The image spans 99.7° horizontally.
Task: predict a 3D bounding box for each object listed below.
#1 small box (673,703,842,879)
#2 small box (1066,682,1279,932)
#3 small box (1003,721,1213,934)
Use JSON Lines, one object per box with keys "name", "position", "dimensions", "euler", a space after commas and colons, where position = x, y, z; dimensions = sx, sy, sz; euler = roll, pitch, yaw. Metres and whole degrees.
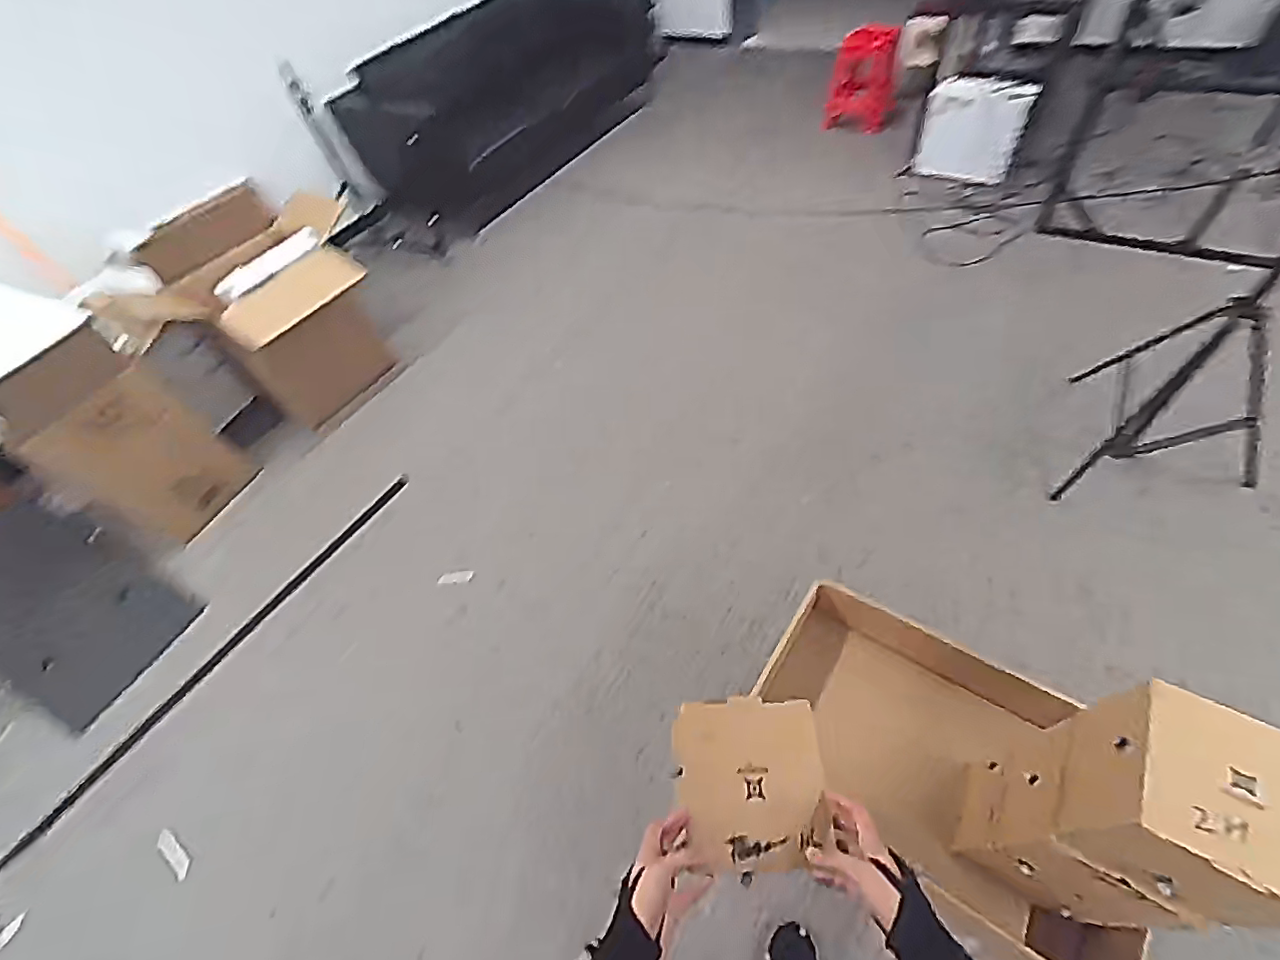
{"name": "small box", "position": [0.133, 0.396, 0.691], "dimensions": [0.168, 0.176, 0.179], "euler": [-1, 57, -2]}
{"name": "small box", "position": [0.630, 0.370, 0.618], "dimensions": [0.168, 0.176, 0.179], "euler": [24, 61, 23]}
{"name": "small box", "position": [0.635, 0.474, 0.746], "dimensions": [0.168, 0.176, 0.179], "euler": [24, 60, 23]}
